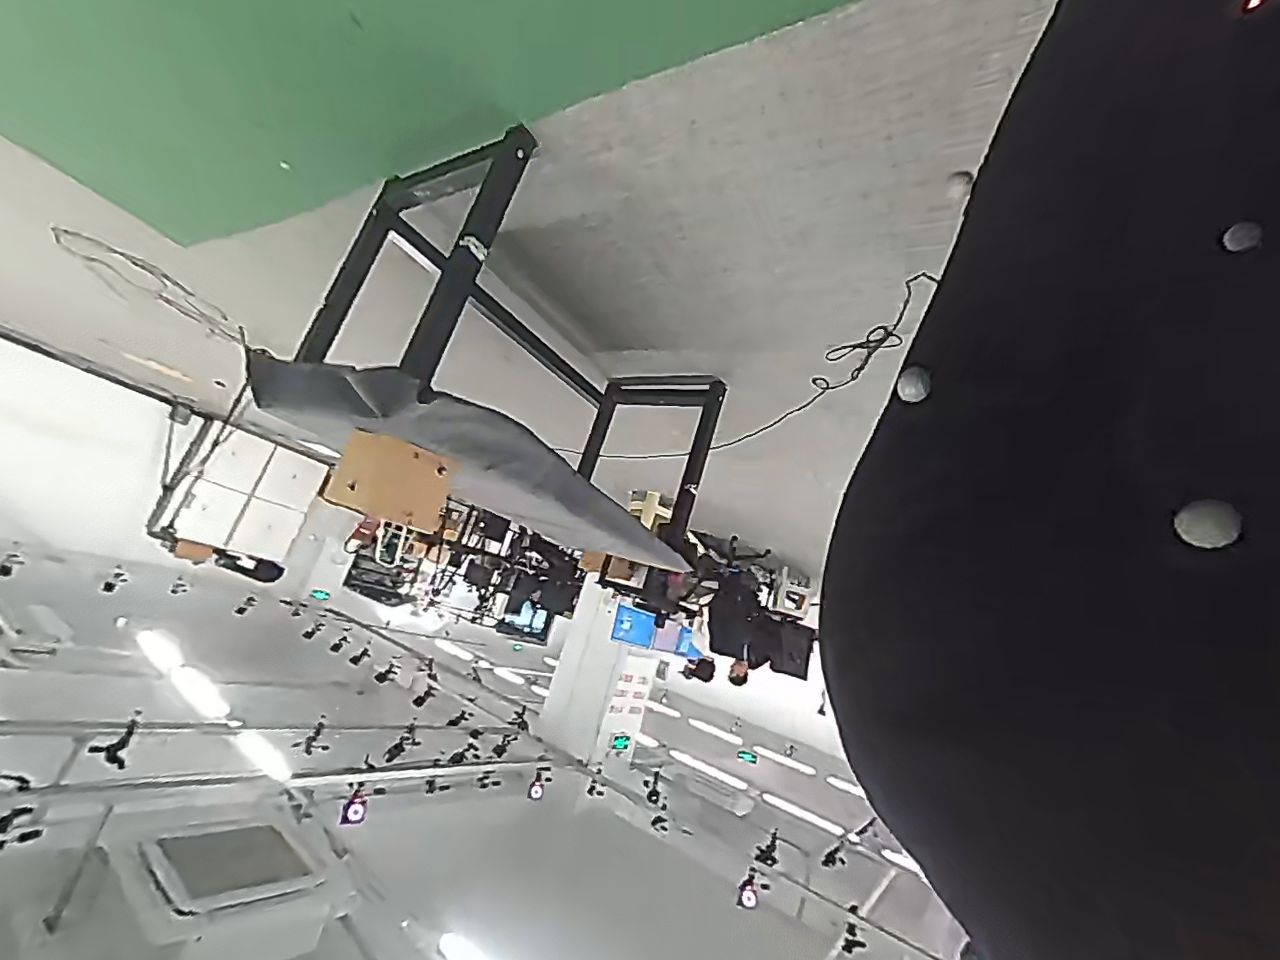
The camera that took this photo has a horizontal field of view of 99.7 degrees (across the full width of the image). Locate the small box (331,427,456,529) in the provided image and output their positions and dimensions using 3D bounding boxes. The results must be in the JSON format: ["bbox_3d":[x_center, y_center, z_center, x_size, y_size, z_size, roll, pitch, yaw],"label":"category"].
[{"bbox_3d":[-0.528,-0.006,1.181,0.179,0.176,0.168,10,166,36],"label":"small box"}]
